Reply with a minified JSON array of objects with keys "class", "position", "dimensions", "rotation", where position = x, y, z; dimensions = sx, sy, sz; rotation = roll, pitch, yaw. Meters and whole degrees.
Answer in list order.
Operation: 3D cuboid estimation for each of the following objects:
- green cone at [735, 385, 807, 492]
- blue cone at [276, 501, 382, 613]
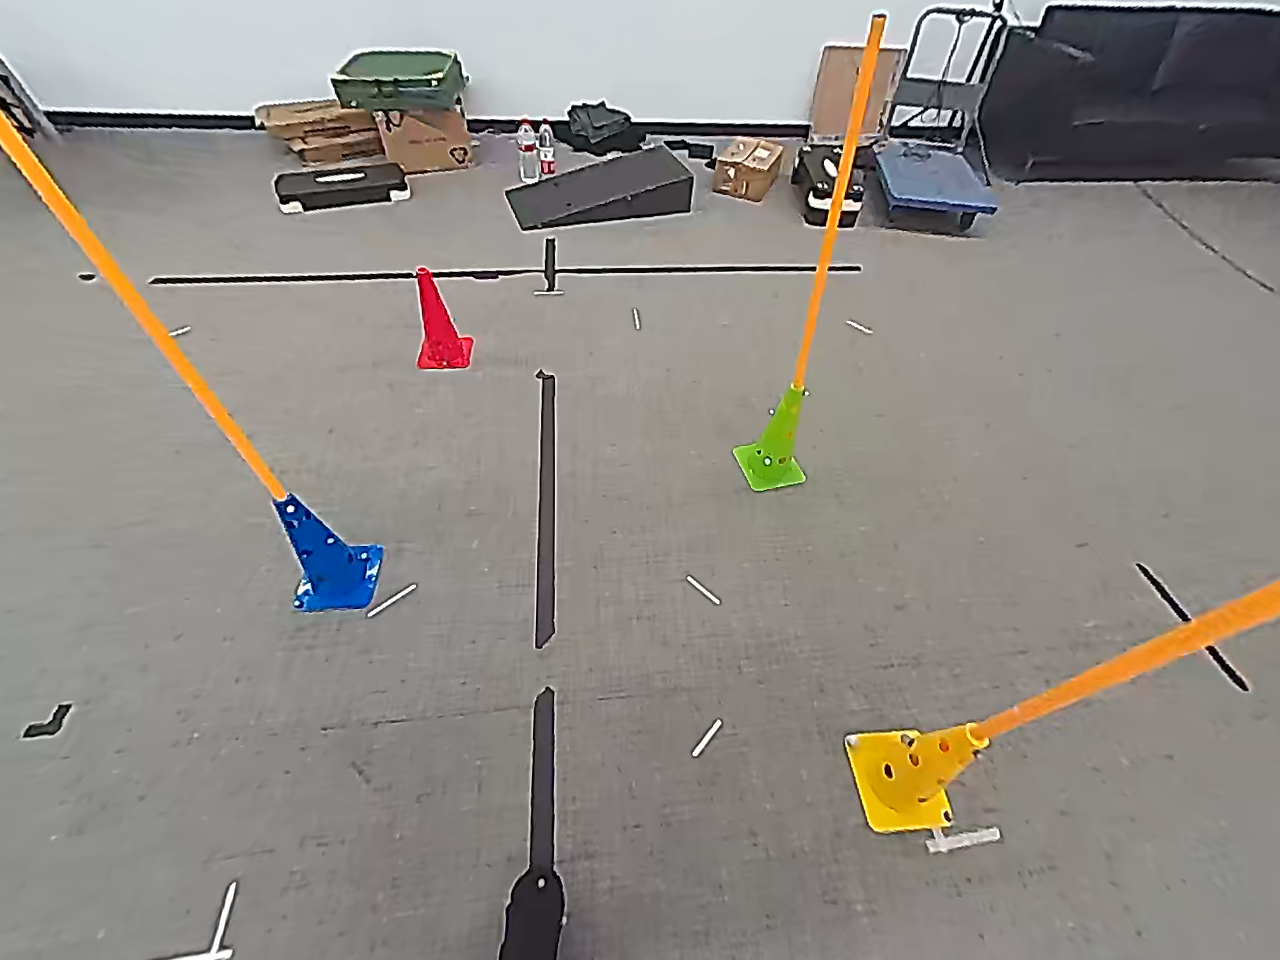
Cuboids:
[{"class":"green cone","position":[0.456,-0.156,1.729],"dimensions":[0.200,0.368,0.202],"rotation":[-11,53,-13]},{"class":"blue cone","position":[-0.821,0.174,1.378],"dimensions":[0.193,0.380,0.192],"rotation":[-1,50,-4]}]
